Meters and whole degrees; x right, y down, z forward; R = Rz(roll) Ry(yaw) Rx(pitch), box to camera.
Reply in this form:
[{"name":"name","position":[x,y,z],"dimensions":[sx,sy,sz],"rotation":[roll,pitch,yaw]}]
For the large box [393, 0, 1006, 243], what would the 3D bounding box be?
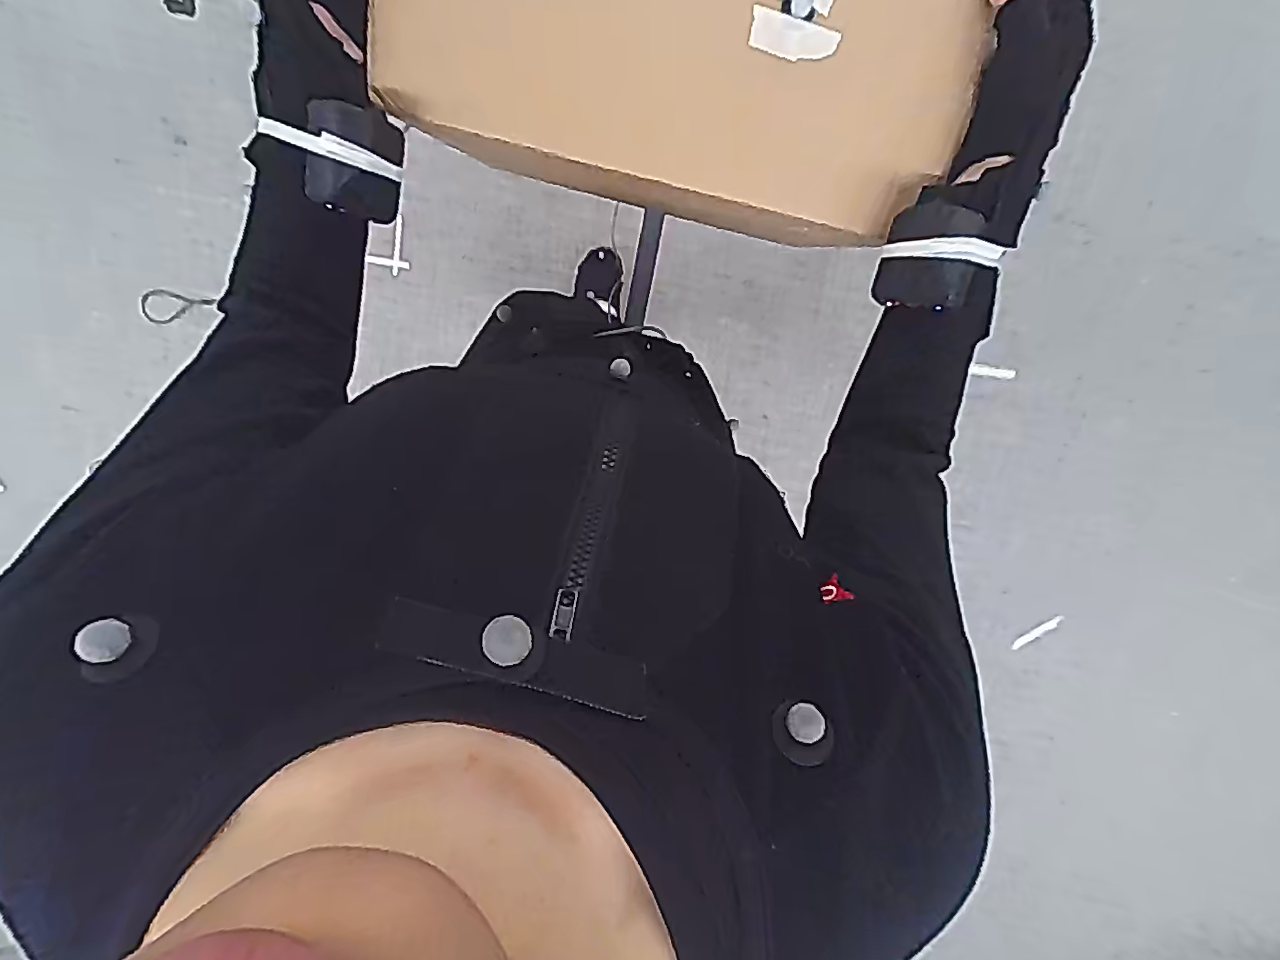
[{"name":"large box","position":[0.046,-0.415,0.475],"dimensions":[0.408,0.320,0.320],"rotation":[11,114,-6]}]
